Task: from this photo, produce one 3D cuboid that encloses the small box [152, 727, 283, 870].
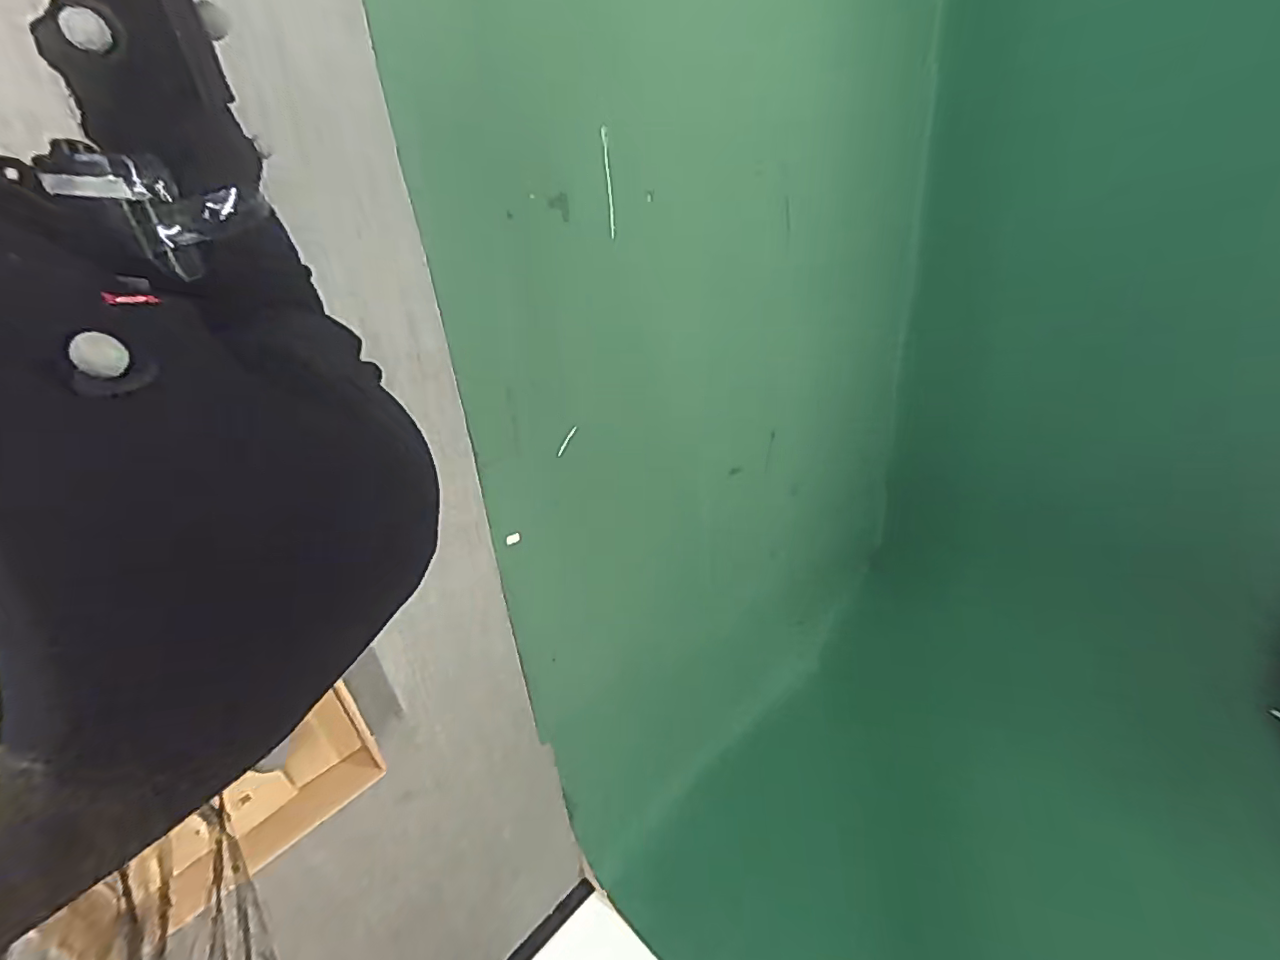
[{"bbox_3d":[-0.948,0.703,1.209,0.179,0.176,0.168,-33,126,-36],"label":"small box"}]
